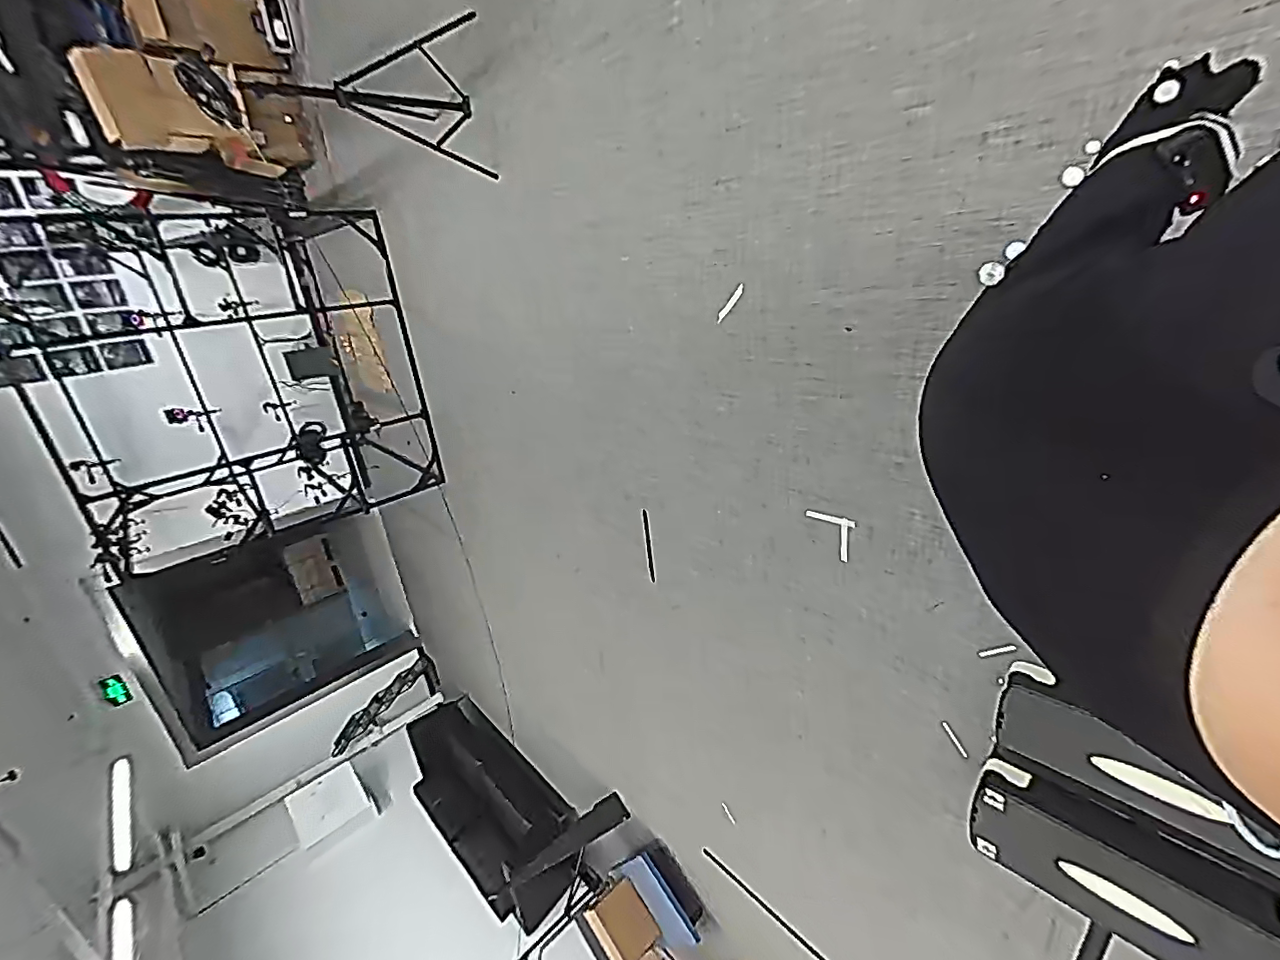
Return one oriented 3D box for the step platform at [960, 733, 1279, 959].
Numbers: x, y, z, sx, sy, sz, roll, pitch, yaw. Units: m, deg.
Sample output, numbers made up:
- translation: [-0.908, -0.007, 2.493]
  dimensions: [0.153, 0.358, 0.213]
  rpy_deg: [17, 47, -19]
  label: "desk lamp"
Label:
- translation: [1.218, 0.969, 1.388]
  dimensions: [0.684, 0.204, 0.286]
  rpy_deg: [17, 122, 46]
  label: "step platform"
